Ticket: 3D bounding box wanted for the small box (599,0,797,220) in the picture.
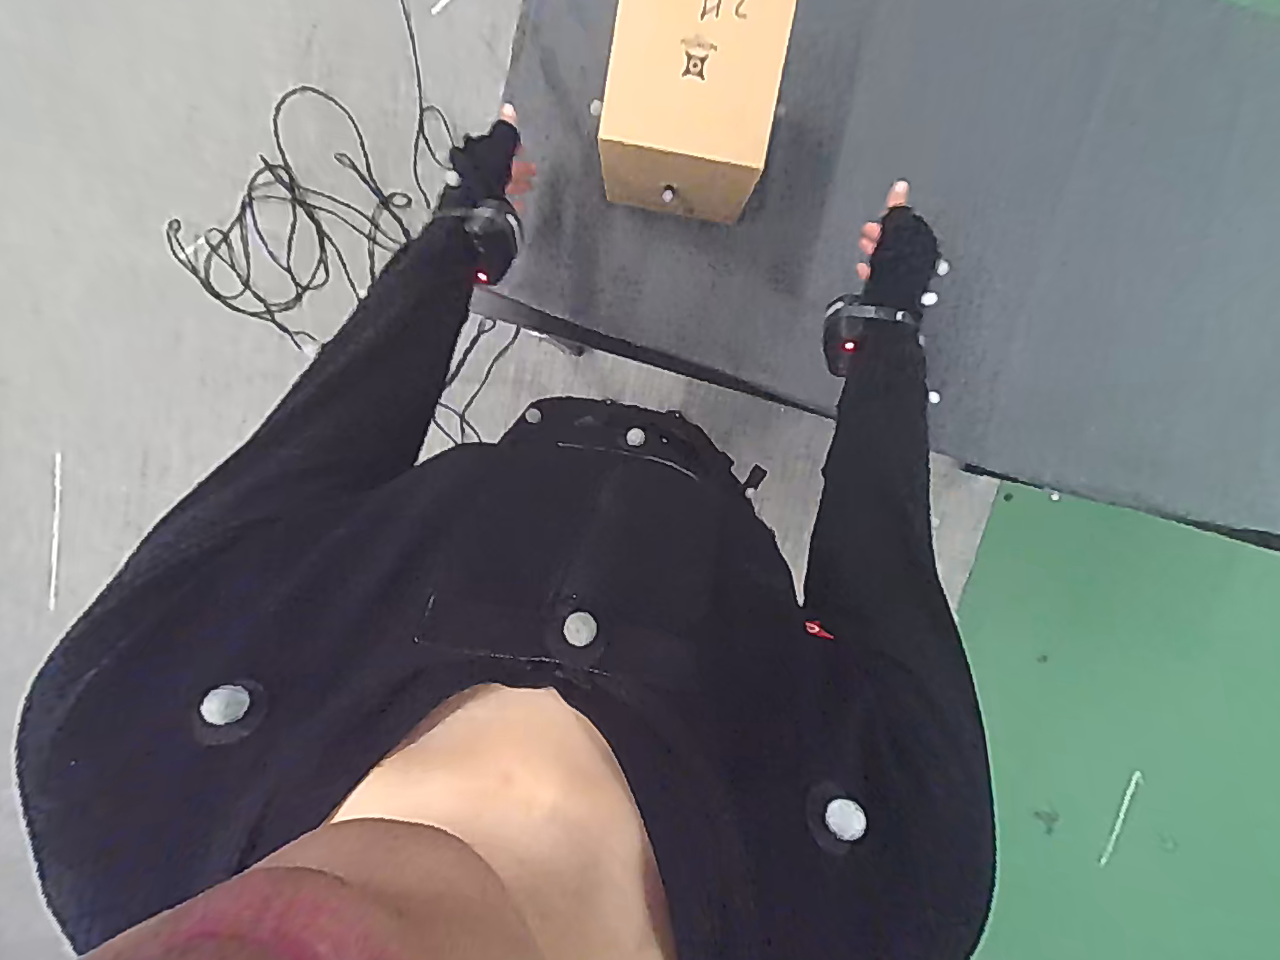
[{"bbox_3d":[0.055,-0.410,0.592,0.168,0.176,0.179,10,97,-2],"label":"small box"}]
